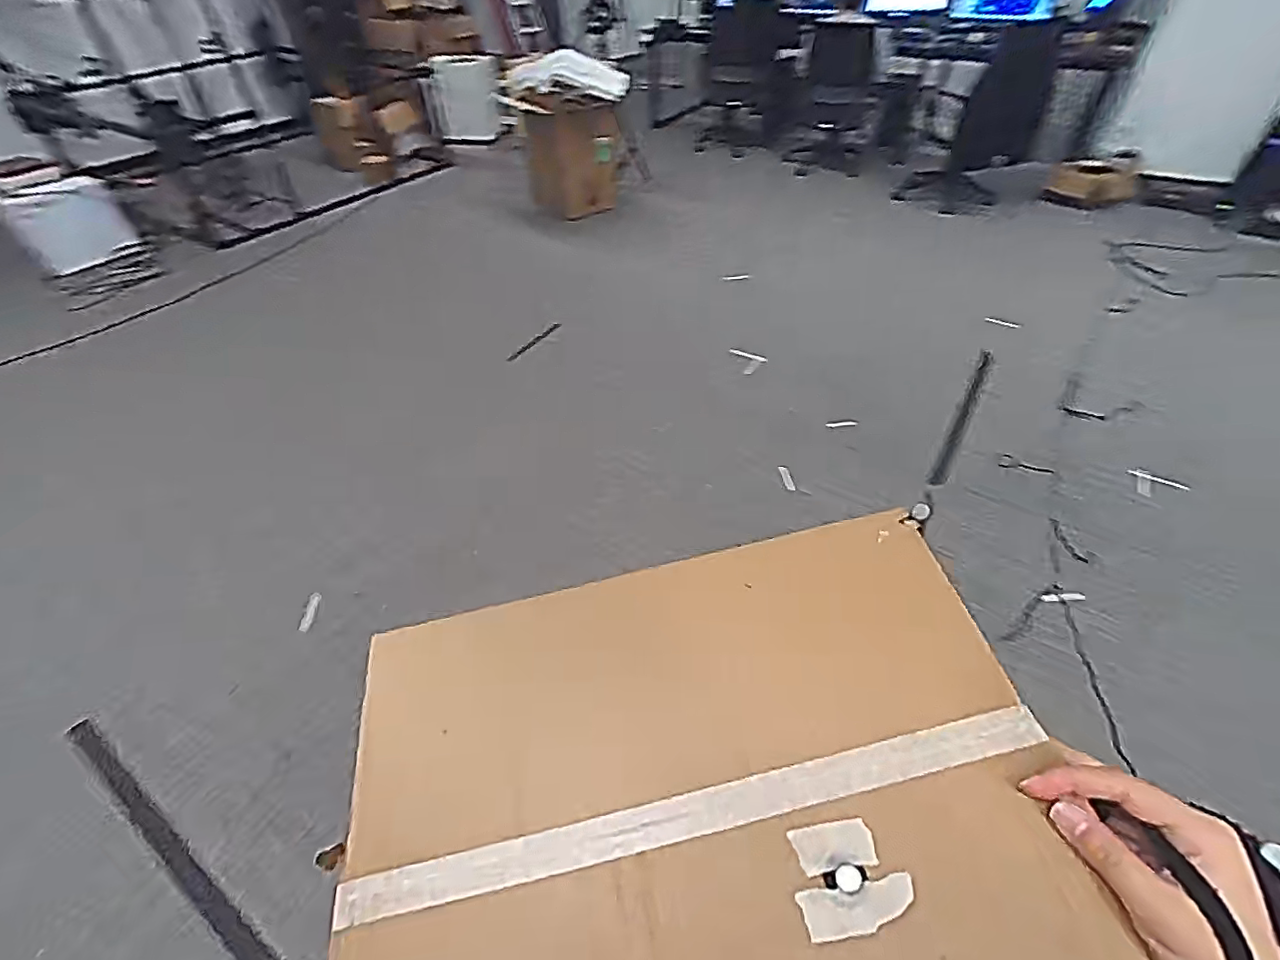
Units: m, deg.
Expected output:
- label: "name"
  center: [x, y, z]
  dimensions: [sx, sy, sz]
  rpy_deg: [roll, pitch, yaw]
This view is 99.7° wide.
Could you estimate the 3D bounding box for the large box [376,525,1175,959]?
- label: "large box"
  center: [0.060, 0.285, 0.434]
  dimensions: [0.408, 0.320, 0.320]
  rpy_deg: [-13, 54, -2]
